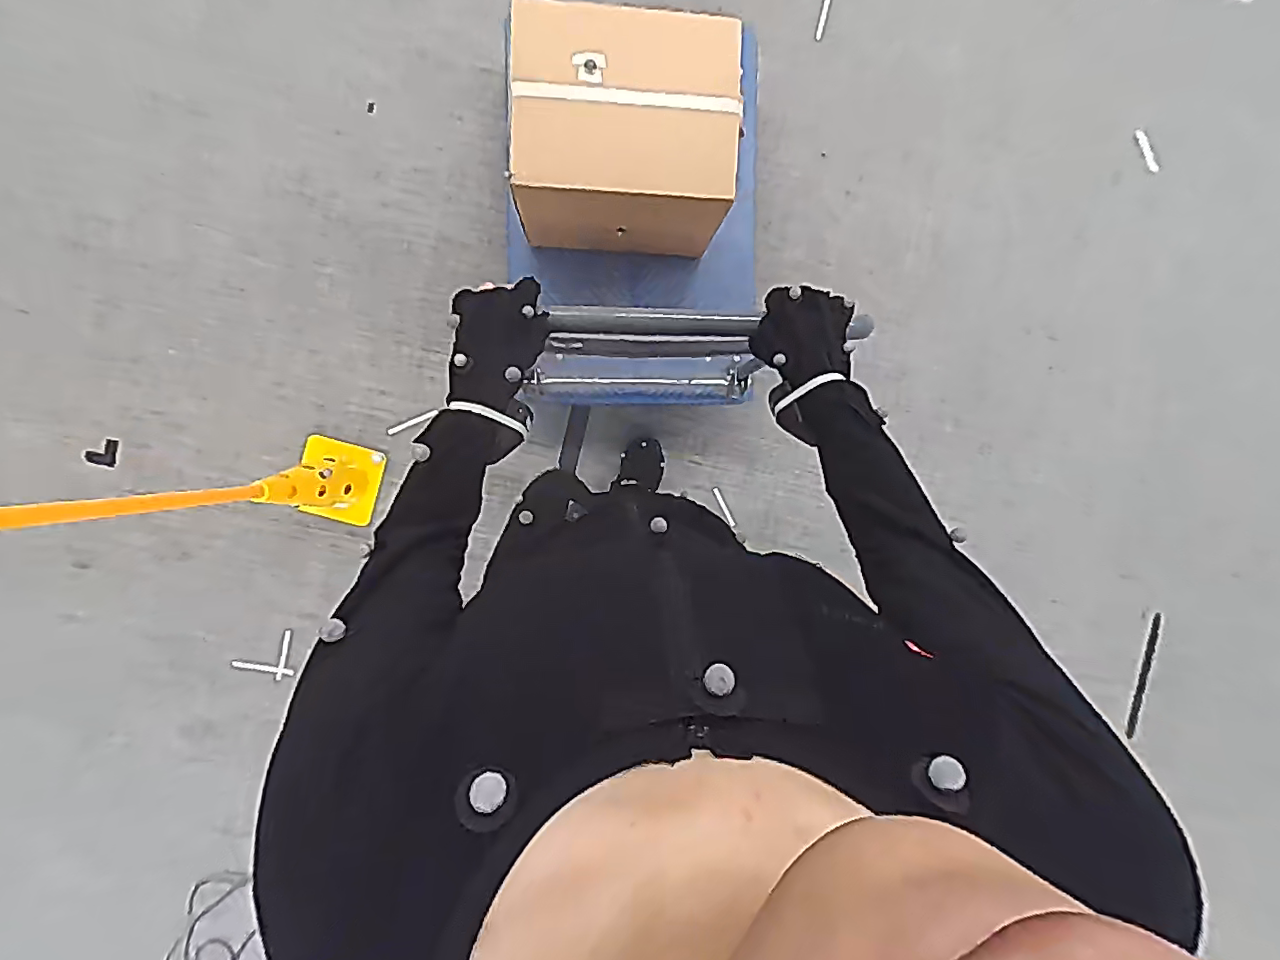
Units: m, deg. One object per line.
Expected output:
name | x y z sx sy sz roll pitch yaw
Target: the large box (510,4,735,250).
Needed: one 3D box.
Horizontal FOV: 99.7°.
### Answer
large box | -0.039 -0.683 1.108 0.408 0.320 0.320 1 94 -4
